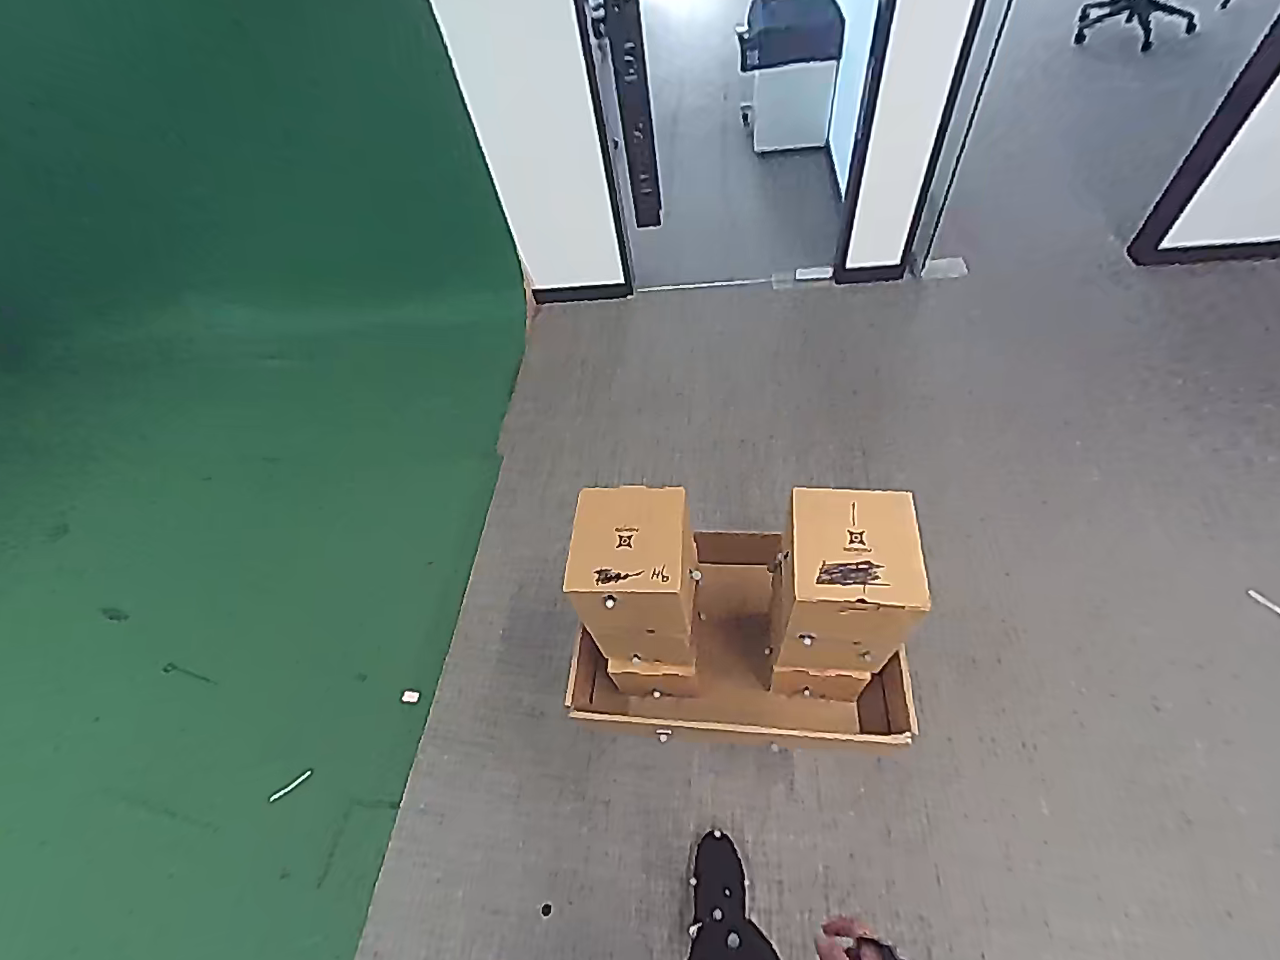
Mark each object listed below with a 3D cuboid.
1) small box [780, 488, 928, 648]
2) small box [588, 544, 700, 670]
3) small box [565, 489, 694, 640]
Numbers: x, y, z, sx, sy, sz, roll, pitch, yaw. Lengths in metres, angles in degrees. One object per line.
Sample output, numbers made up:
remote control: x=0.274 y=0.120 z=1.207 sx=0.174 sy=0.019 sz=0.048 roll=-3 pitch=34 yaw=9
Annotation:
small box: x=0.299 y=0.132 z=0.791 sx=0.168 sy=0.176 sz=0.179 roll=3 pitch=55 yaw=10
small box: x=0.017 y=0.225 z=0.978 sx=0.168 sy=0.176 sz=0.179 roll=2 pitch=55 yaw=12
small box: x=-0.005 y=0.132 z=0.846 sx=0.168 sy=0.176 sz=0.179 roll=-1 pitch=53 yaw=10
